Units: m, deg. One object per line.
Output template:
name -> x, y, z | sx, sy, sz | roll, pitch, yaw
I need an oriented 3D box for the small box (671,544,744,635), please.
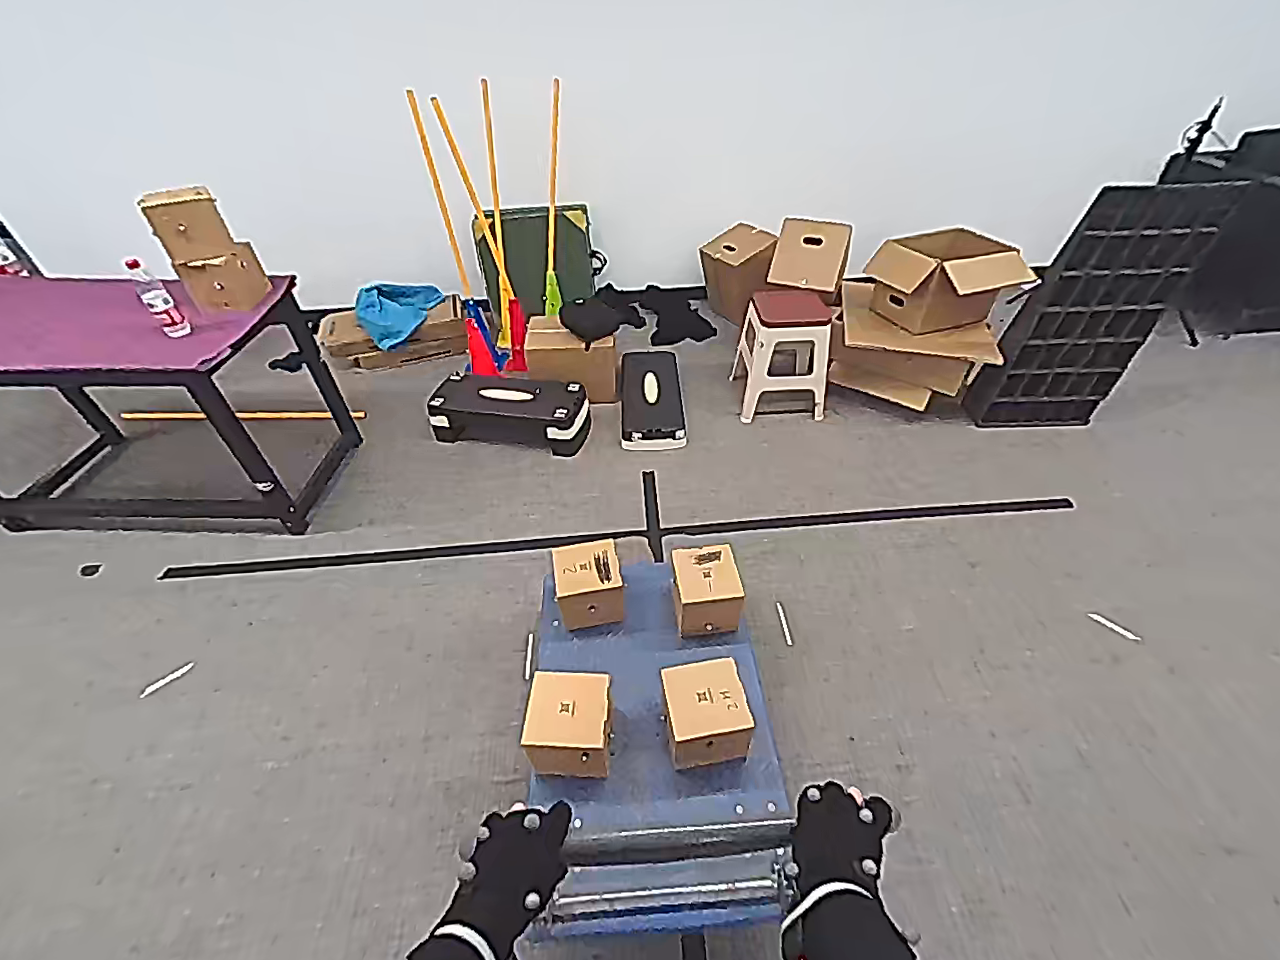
small box -> 0.177, 0.300, 1.482 | 0.168, 0.176, 0.179 | -6, 45, -4

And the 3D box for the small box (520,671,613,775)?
small box -> -0.159, 0.553, 1.228 | 0.179, 0.176, 0.168 | 2, 43, 2

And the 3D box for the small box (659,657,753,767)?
small box -> 0.145, 0.534, 1.238 | 0.179, 0.176, 0.168 | -7, 44, -6
